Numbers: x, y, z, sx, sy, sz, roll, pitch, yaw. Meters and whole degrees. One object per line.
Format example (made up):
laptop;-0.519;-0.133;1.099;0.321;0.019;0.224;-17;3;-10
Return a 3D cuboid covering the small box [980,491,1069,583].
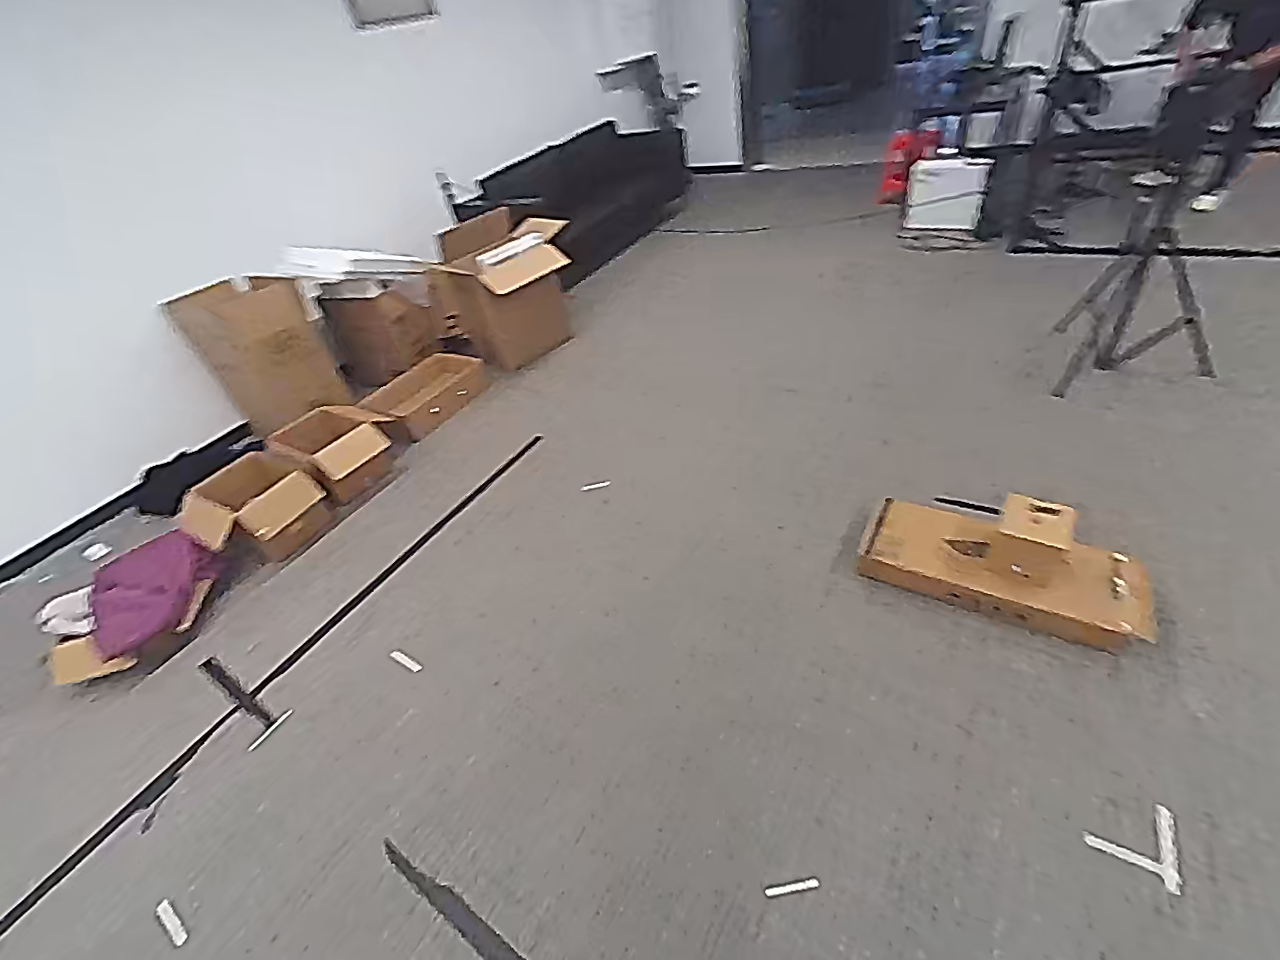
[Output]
small box;1.122;0.166;1.586;0.168;0.176;0.179;18;50;33
